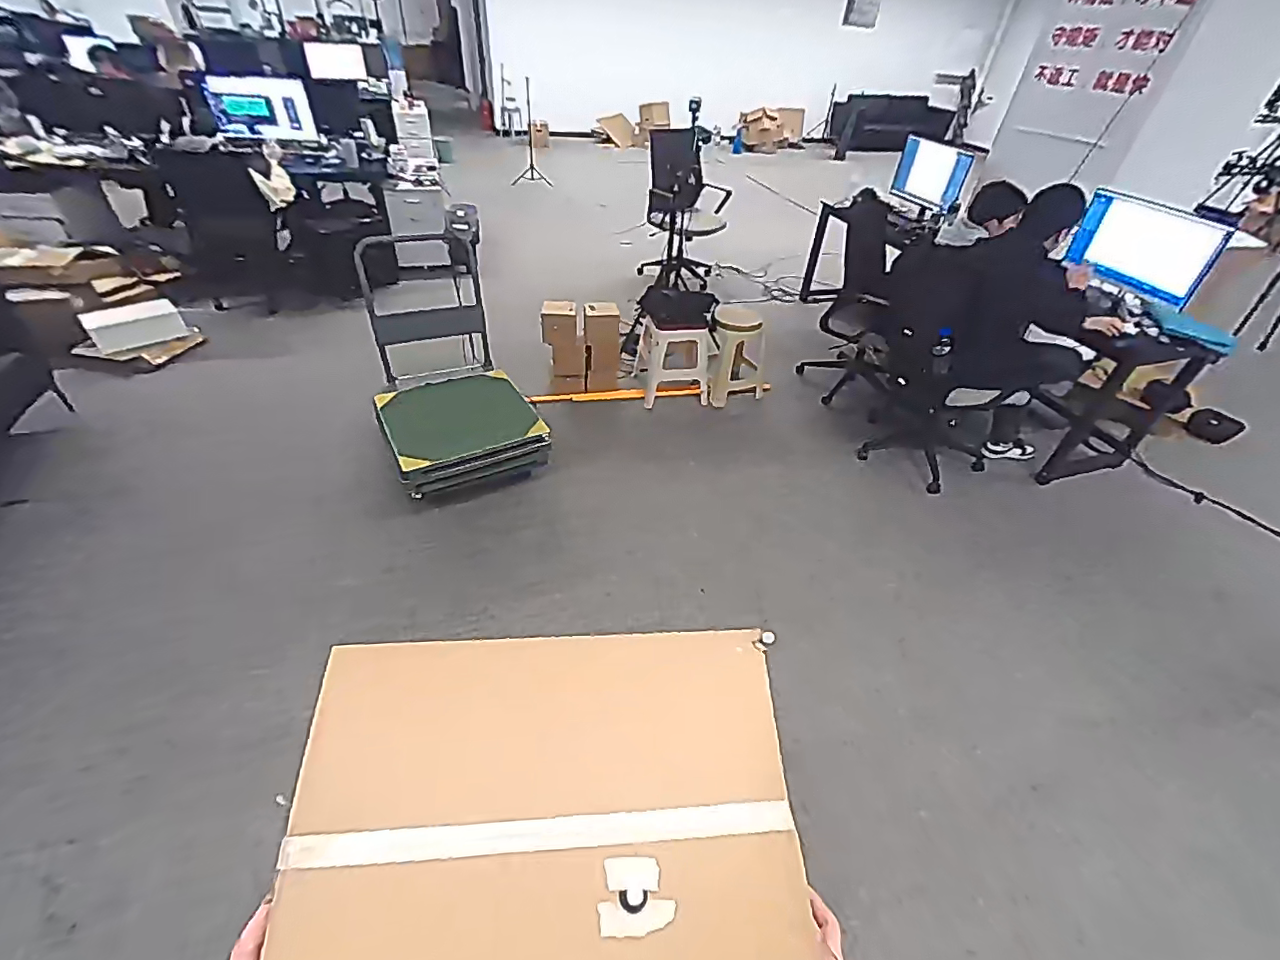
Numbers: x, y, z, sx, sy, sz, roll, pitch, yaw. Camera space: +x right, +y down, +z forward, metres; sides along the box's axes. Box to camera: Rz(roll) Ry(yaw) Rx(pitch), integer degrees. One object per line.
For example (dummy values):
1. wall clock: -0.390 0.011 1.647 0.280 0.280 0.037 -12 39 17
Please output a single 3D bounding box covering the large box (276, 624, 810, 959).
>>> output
1. large box: -0.087 0.358 0.578 0.408 0.320 0.320 -1 60 -6
